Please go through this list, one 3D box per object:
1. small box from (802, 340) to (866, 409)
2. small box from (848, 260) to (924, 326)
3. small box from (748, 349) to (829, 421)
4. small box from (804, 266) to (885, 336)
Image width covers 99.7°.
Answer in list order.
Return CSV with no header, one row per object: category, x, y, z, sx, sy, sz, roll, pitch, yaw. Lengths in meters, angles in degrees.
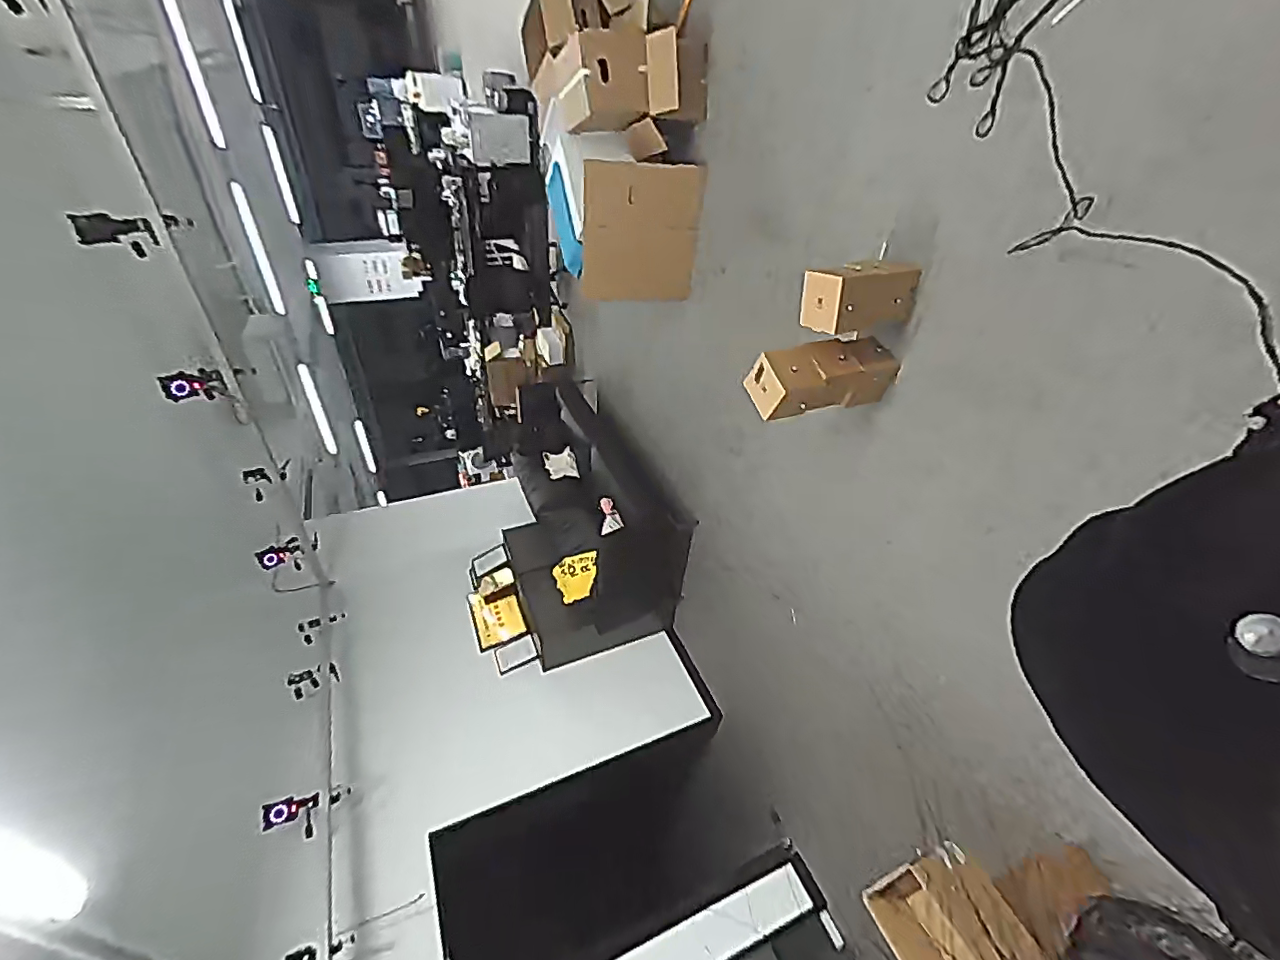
small box,0.646,-0.365,1.883,0.179,0.176,0.168,109,144,-54
small box,0.797,-0.623,1.787,0.179,0.176,0.168,-128,32,-50
small box,0.499,-0.325,1.823,0.168,0.176,0.179,114,139,-58
small box,0.653,-0.576,1.727,0.168,0.176,0.179,-134,36,-53
